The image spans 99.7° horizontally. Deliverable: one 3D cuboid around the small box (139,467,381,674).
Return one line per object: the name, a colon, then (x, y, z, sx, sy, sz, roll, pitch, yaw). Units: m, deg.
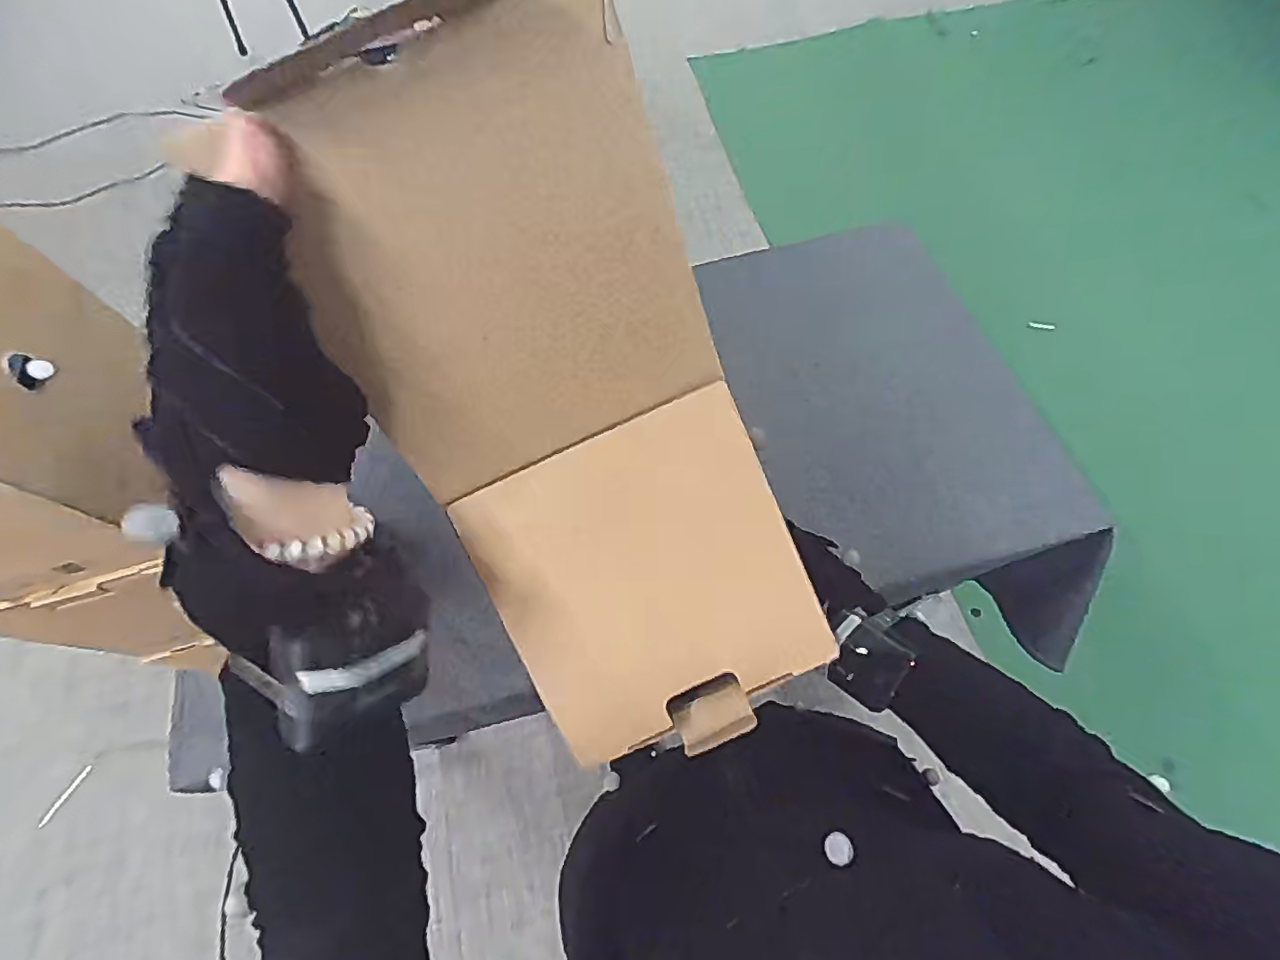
small box: (-0.429, 0.114, 0.640, 0.168, 0.176, 0.179, -16, 65, -5)

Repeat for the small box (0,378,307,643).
small box: (-0.433, 0.041, 0.495, 0.168, 0.176, 0.179, -15, 65, -6)

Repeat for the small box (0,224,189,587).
small box: (-0.439, -0.036, 0.350, 0.168, 0.176, 0.179, -16, 65, -7)
